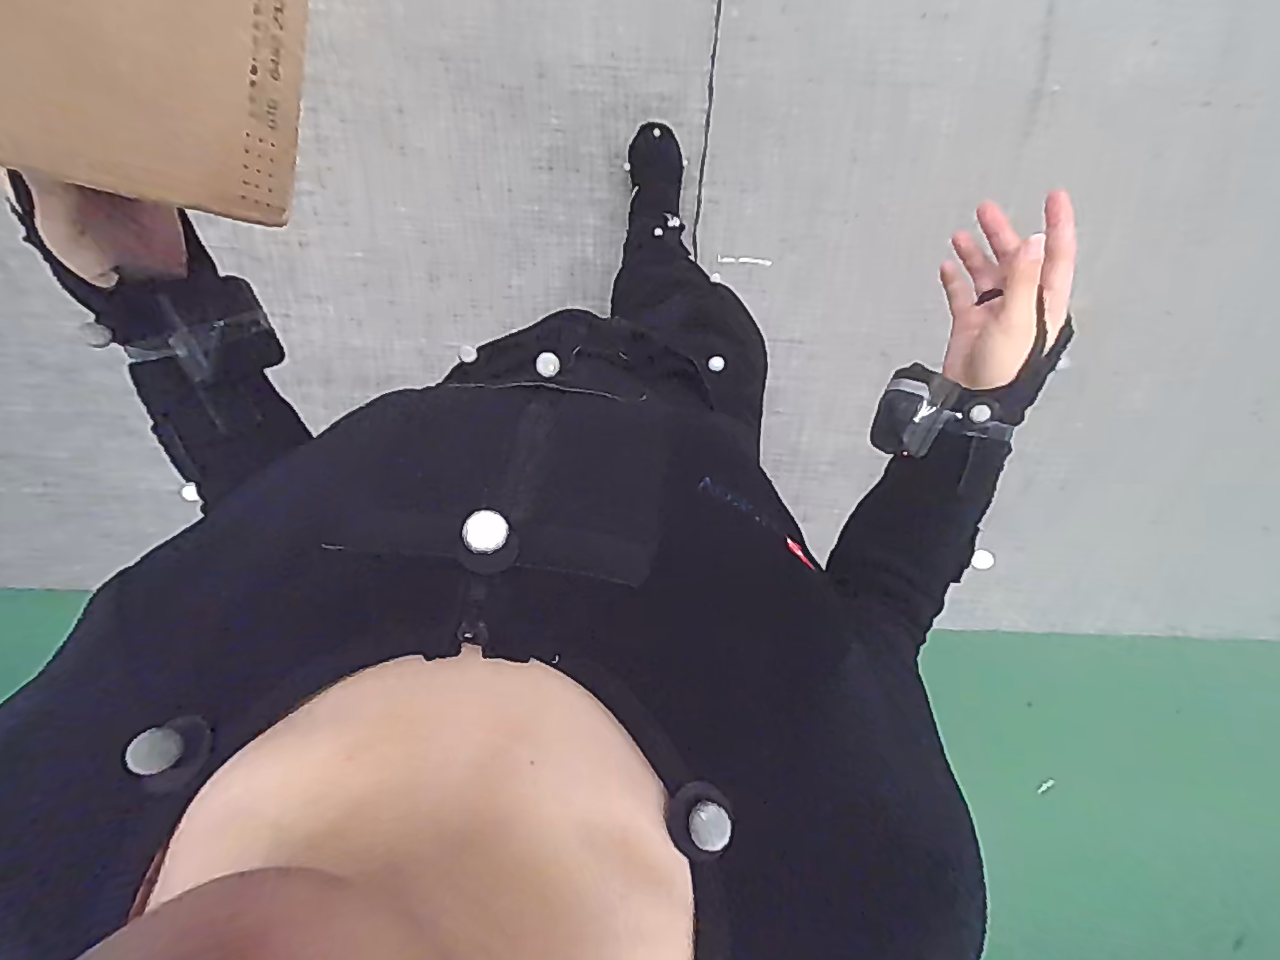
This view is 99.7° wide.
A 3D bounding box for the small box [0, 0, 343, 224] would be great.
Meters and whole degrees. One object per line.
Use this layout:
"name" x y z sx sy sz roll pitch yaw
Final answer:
"small box" -0.237 -0.204 0.184 0.179 0.176 0.168 18 108 6
